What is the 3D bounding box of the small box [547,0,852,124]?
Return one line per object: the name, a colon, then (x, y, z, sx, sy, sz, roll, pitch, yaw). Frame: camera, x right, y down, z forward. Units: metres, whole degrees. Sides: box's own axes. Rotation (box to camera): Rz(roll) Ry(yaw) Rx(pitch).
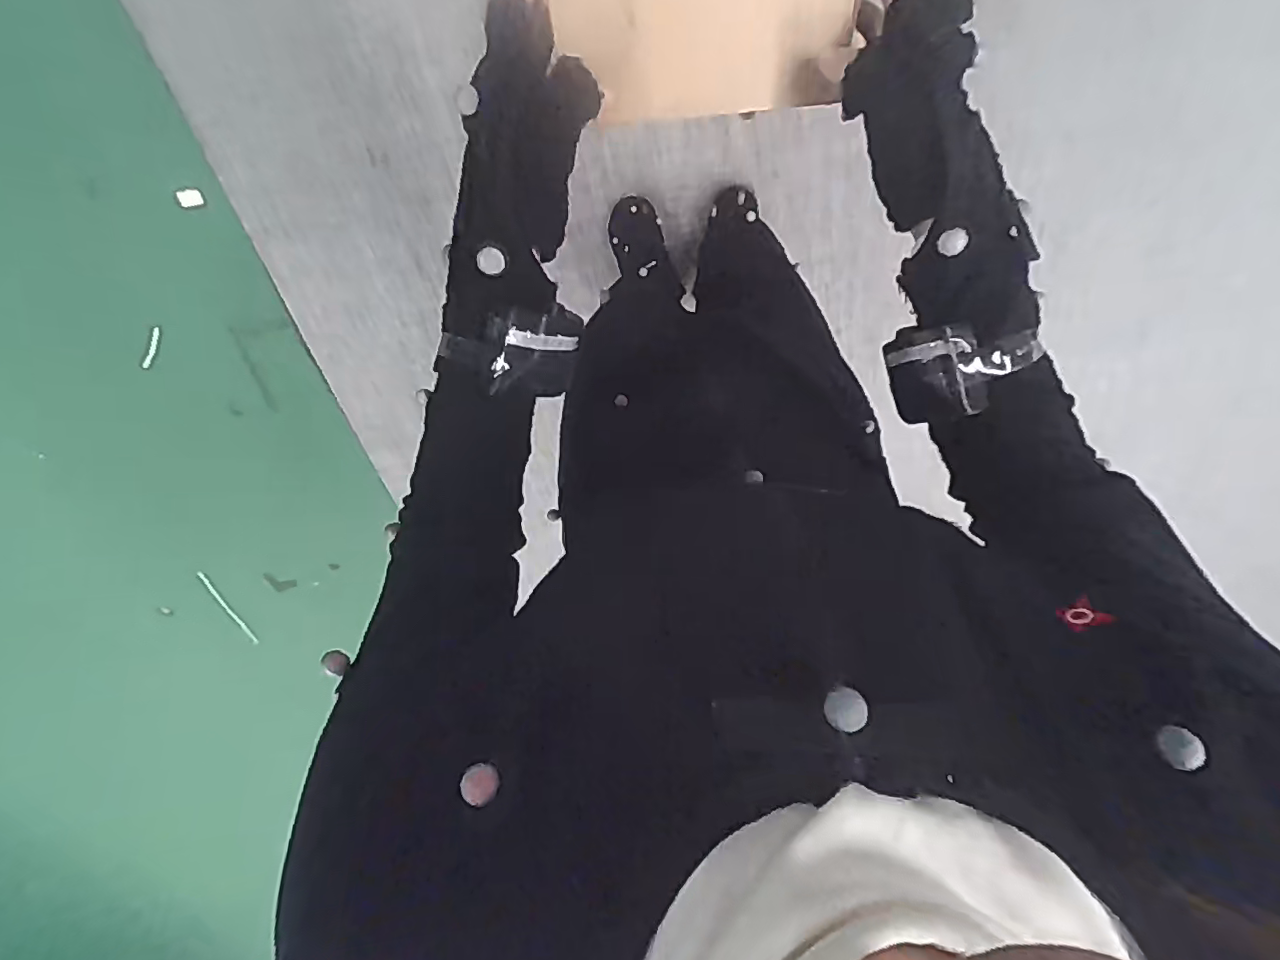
small box: (0.028, -0.347, 0.346, 0.179, 0.176, 0.168, -6, 132, 2)
